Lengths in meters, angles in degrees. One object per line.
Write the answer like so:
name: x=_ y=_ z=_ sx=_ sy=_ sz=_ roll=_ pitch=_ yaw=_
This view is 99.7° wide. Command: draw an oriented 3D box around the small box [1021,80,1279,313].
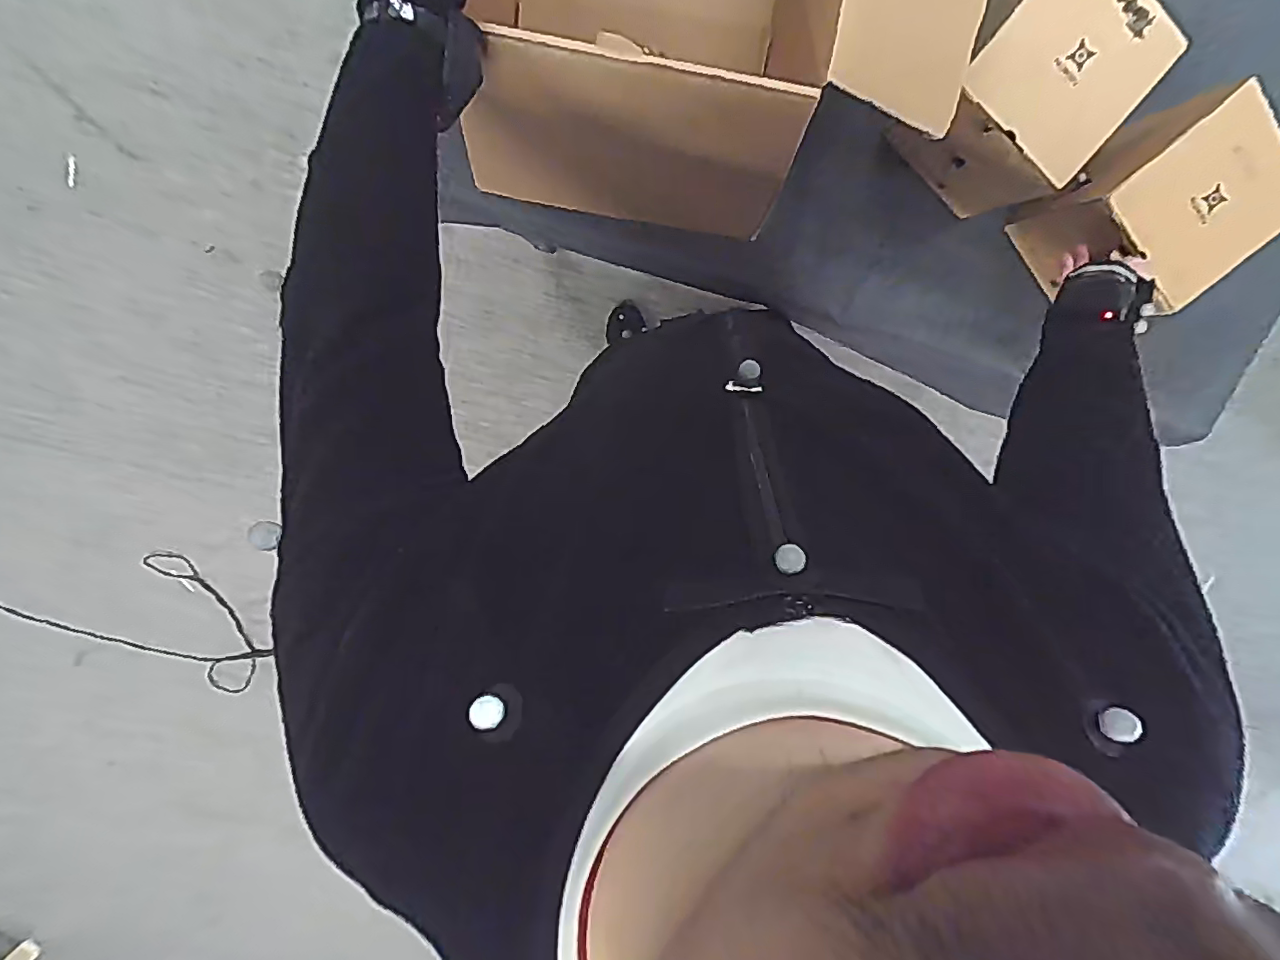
small box: x=0.620 y=-0.323 z=0.666 sx=0.179 sy=0.176 sz=0.168 roll=-42 pitch=103 yaw=9
